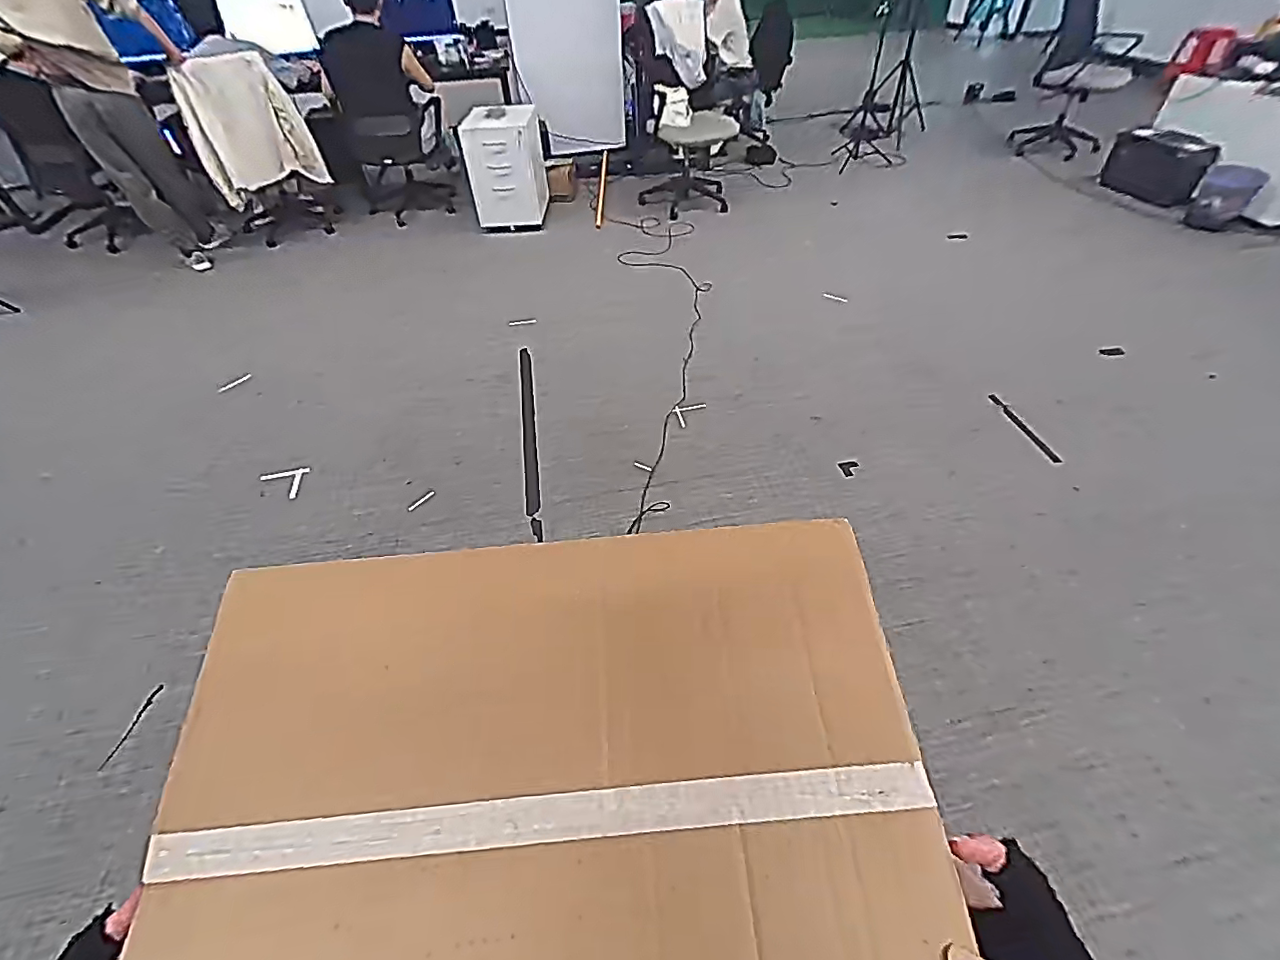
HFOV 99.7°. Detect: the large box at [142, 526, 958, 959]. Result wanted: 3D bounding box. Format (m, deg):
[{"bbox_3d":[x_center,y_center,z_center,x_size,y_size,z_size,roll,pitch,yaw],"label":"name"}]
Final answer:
[{"bbox_3d":[-0.048,0.256,0.420,0.408,0.320,0.320,-5,62,-1],"label":"large box"}]
